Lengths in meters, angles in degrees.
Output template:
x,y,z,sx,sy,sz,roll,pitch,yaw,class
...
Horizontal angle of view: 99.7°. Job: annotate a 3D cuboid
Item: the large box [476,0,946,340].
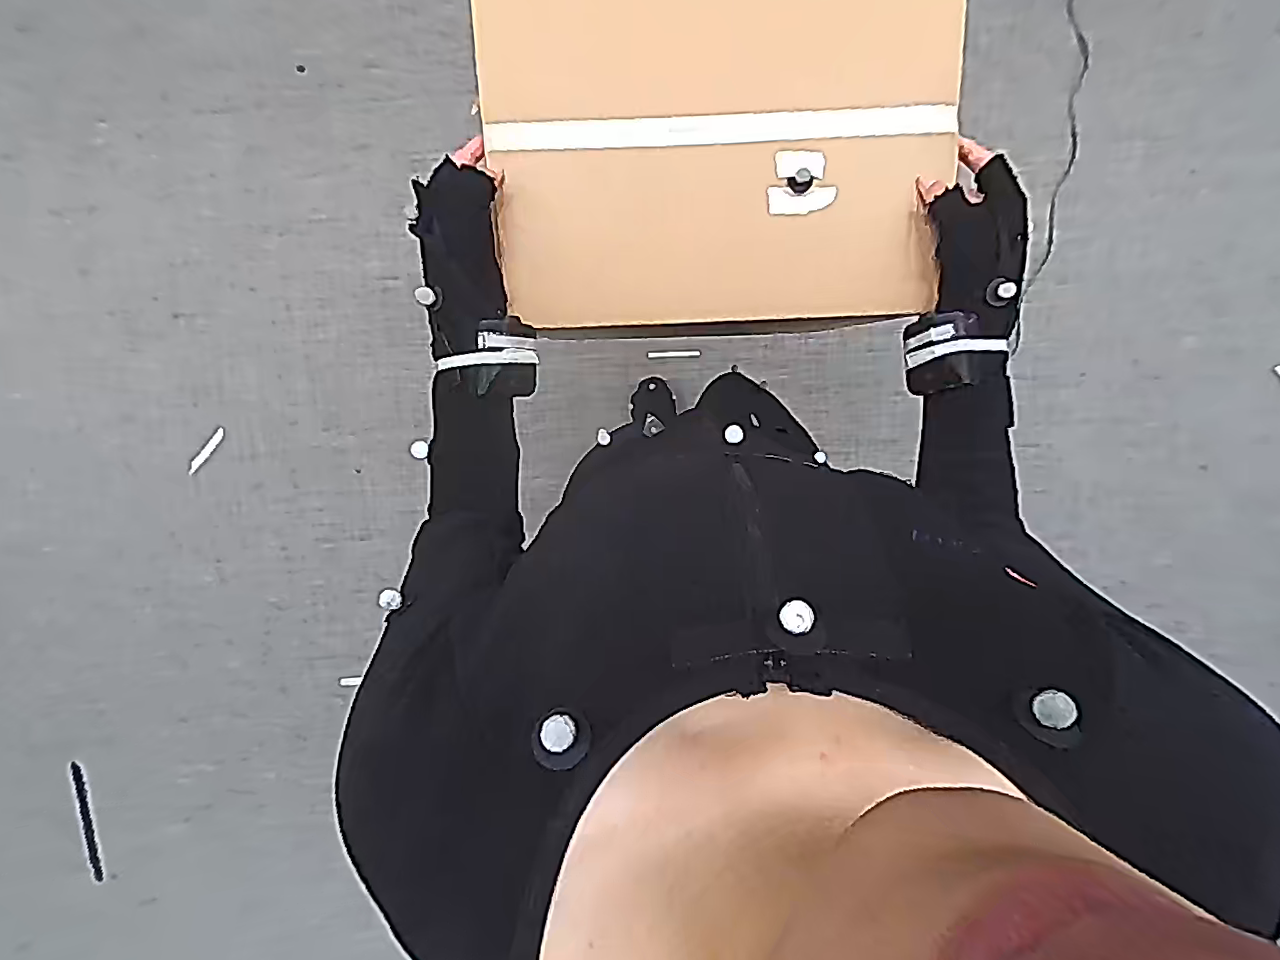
x,y,z,sx,sy,sz,roll,pitch,yaw,class
0.061,-0.338,0.620,0.408,0.320,0.320,-2,102,-1,large box
